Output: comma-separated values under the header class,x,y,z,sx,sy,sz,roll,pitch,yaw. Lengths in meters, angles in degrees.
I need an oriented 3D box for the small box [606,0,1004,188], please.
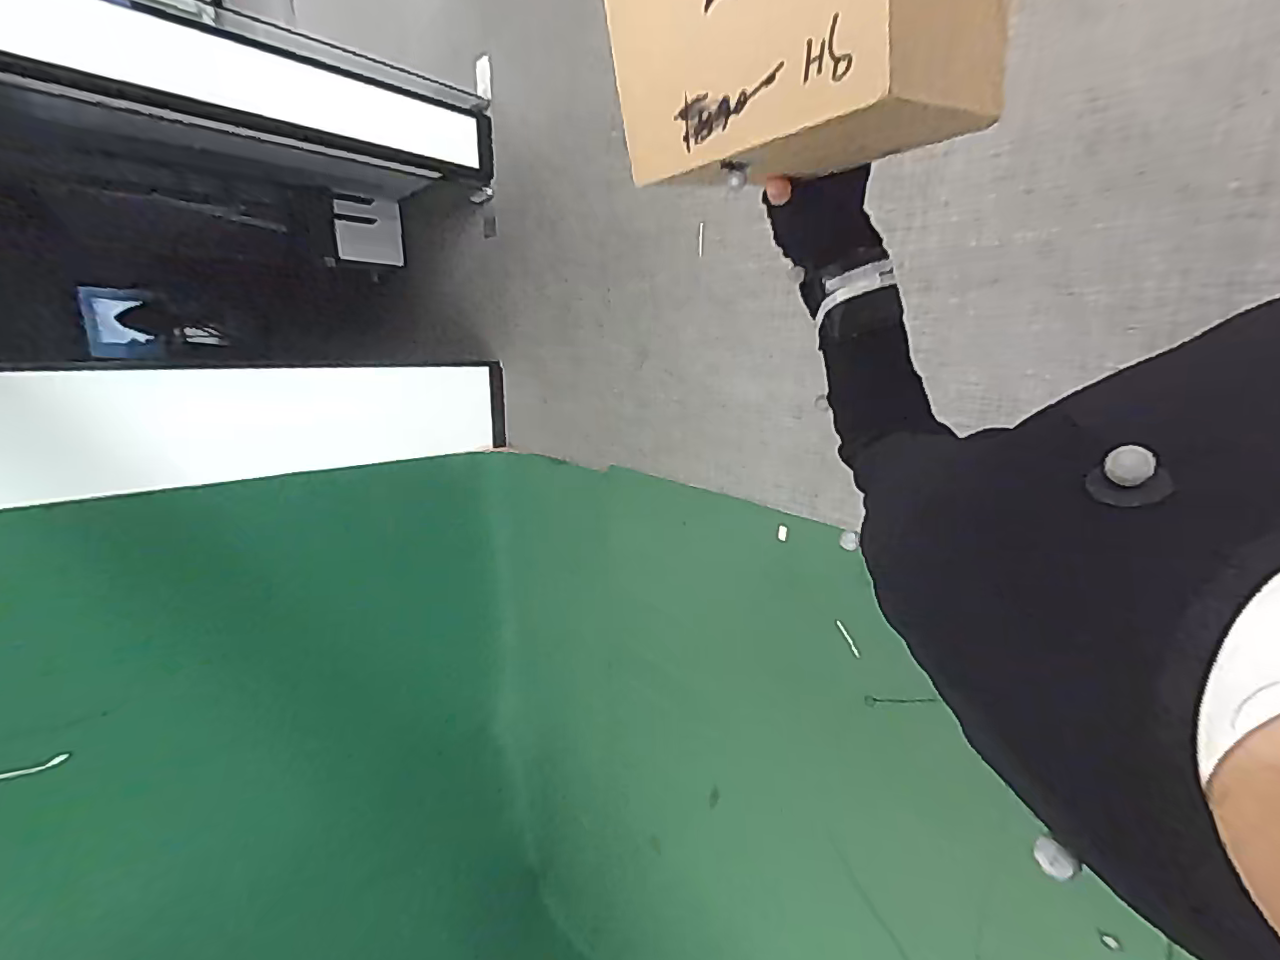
class,x,y,z,sx,sy,sz,roll,pitch,yaw
small box,0.097,-0.284,0.315,0.168,0.176,0.179,11,118,46
